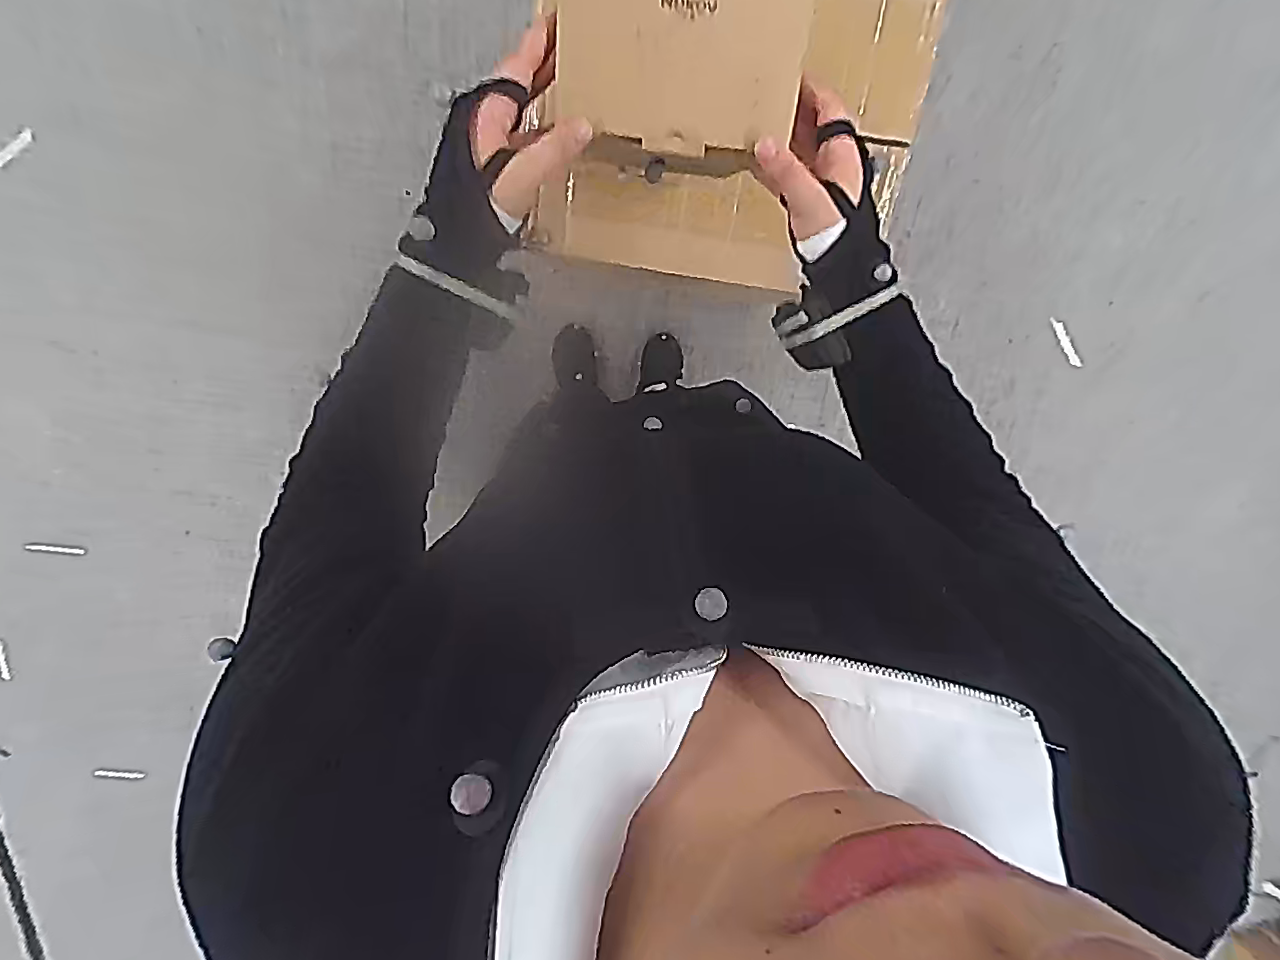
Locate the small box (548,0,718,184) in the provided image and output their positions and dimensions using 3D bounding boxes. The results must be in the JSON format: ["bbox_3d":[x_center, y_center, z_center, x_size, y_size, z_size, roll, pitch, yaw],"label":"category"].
[{"bbox_3d":[-0.012,-0.469,0.631,0.168,0.176,0.179,5,109,-4],"label":"small box"}]
